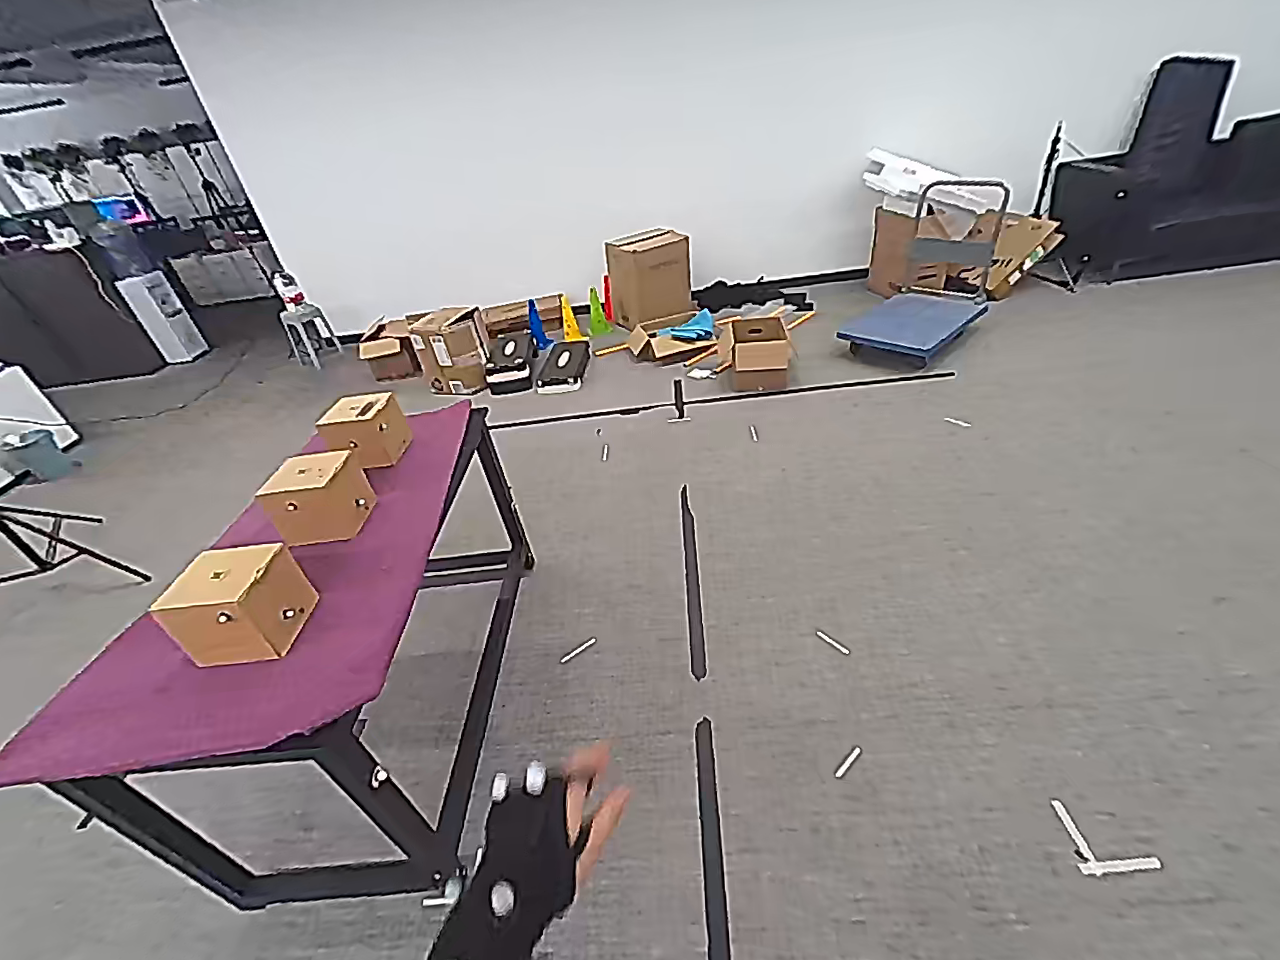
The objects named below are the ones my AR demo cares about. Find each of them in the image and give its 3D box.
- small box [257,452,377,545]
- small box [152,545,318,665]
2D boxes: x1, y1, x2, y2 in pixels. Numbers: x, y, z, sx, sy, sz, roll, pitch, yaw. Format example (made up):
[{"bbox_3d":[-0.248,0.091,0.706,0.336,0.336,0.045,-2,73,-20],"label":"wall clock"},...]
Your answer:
[{"bbox_3d":[-0.816,0.050,1.385,0.179,0.176,0.168,-7,36,3],"label":"small box"},{"bbox_3d":[-0.805,0.255,1.096,0.179,0.176,0.168,-7,34,2],"label":"small box"}]
